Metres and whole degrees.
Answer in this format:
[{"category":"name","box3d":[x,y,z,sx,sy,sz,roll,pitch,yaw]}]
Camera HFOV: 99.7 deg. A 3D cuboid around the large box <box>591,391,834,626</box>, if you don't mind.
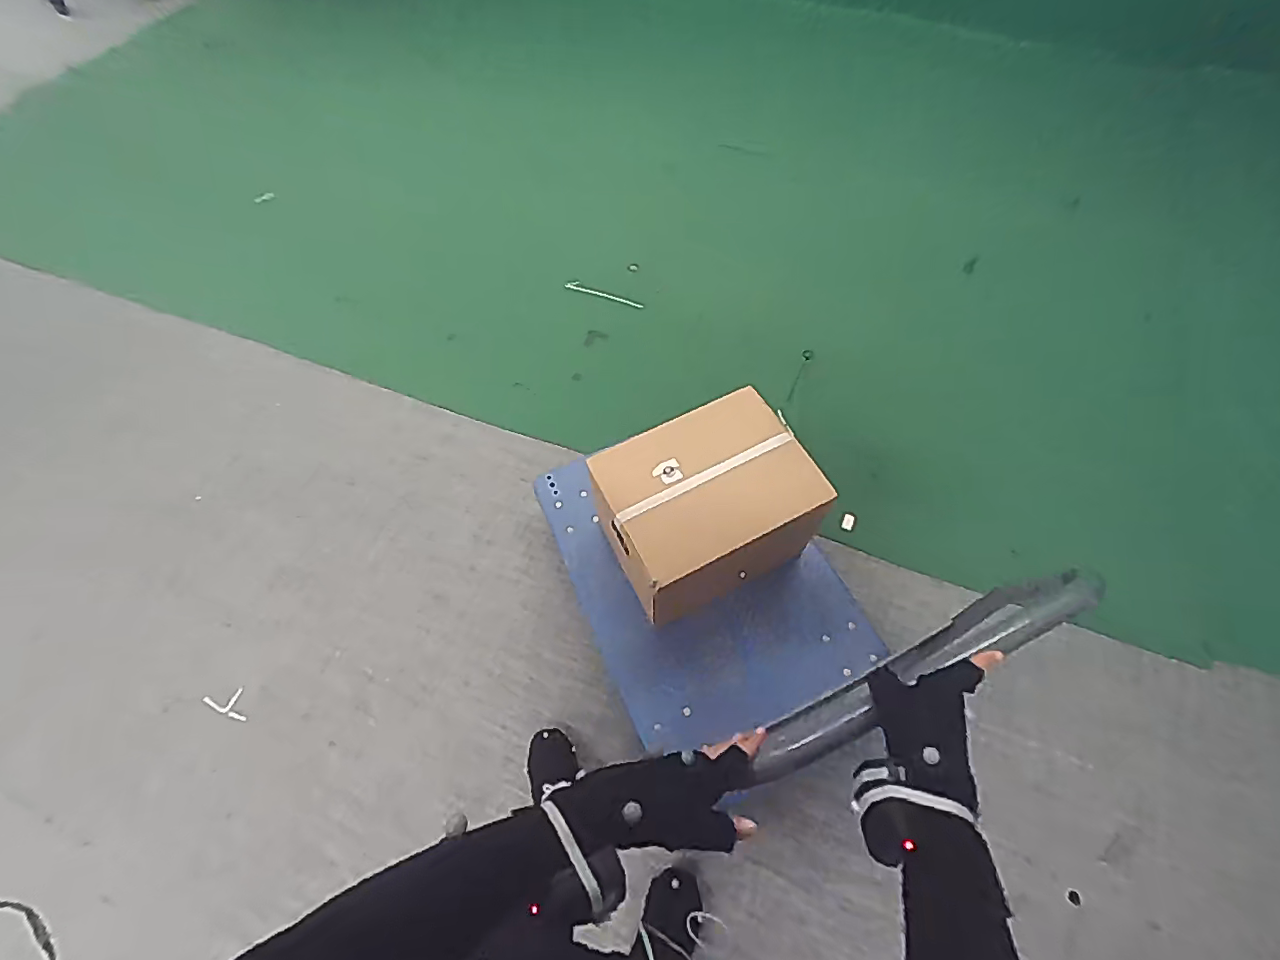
[{"category":"large box","box3d":[0.146,0.072,1.218,0.408,0.320,0.320,-26,63,-11]}]
